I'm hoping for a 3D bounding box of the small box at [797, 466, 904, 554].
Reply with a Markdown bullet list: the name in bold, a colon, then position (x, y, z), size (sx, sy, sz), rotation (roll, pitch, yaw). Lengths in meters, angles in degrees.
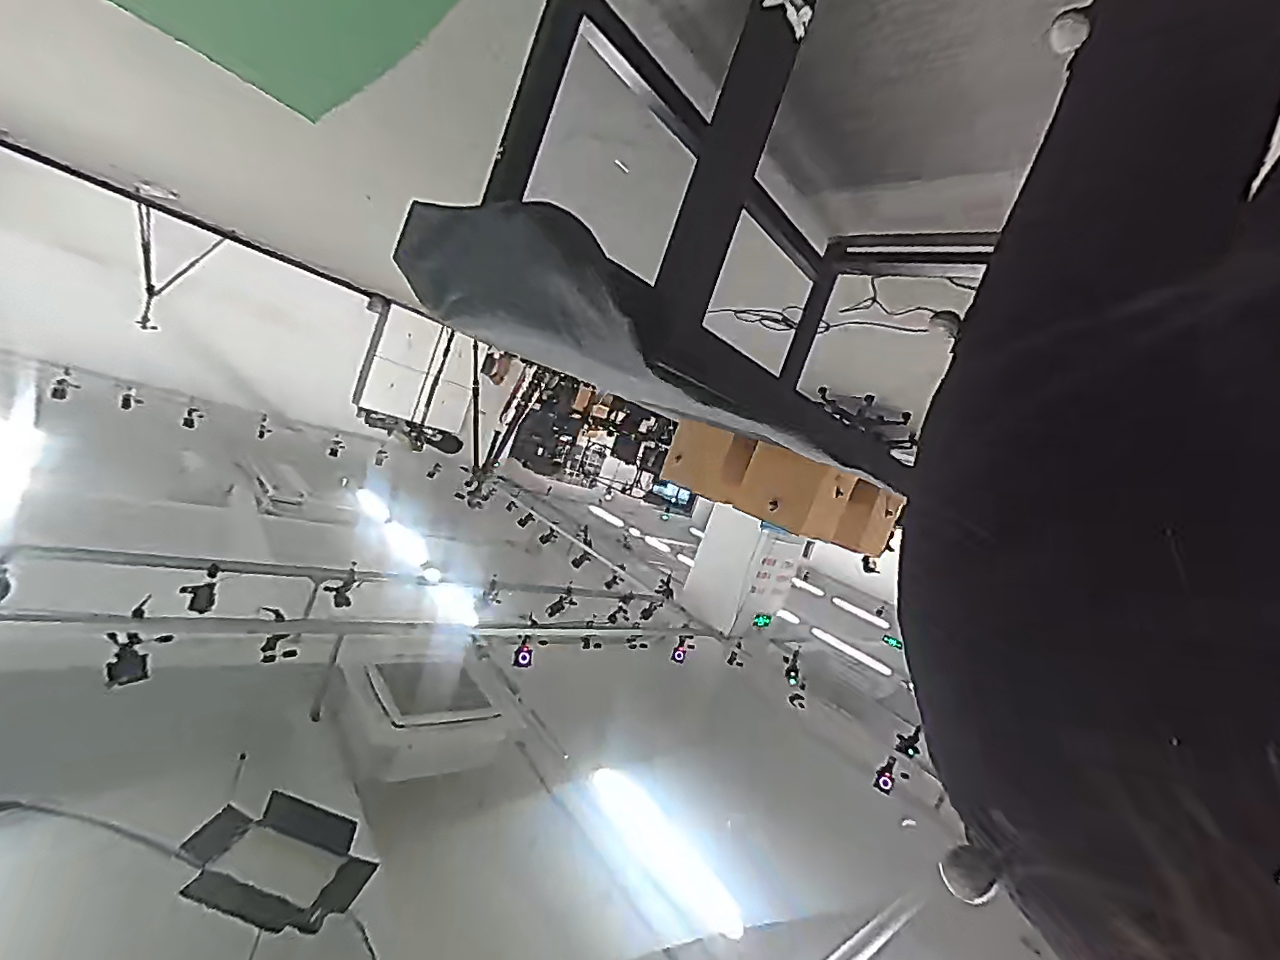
- **small box**: position (0.537, 0.072, 1.375), size (0.168, 0.176, 0.179), rotation (15, -175, -46)
